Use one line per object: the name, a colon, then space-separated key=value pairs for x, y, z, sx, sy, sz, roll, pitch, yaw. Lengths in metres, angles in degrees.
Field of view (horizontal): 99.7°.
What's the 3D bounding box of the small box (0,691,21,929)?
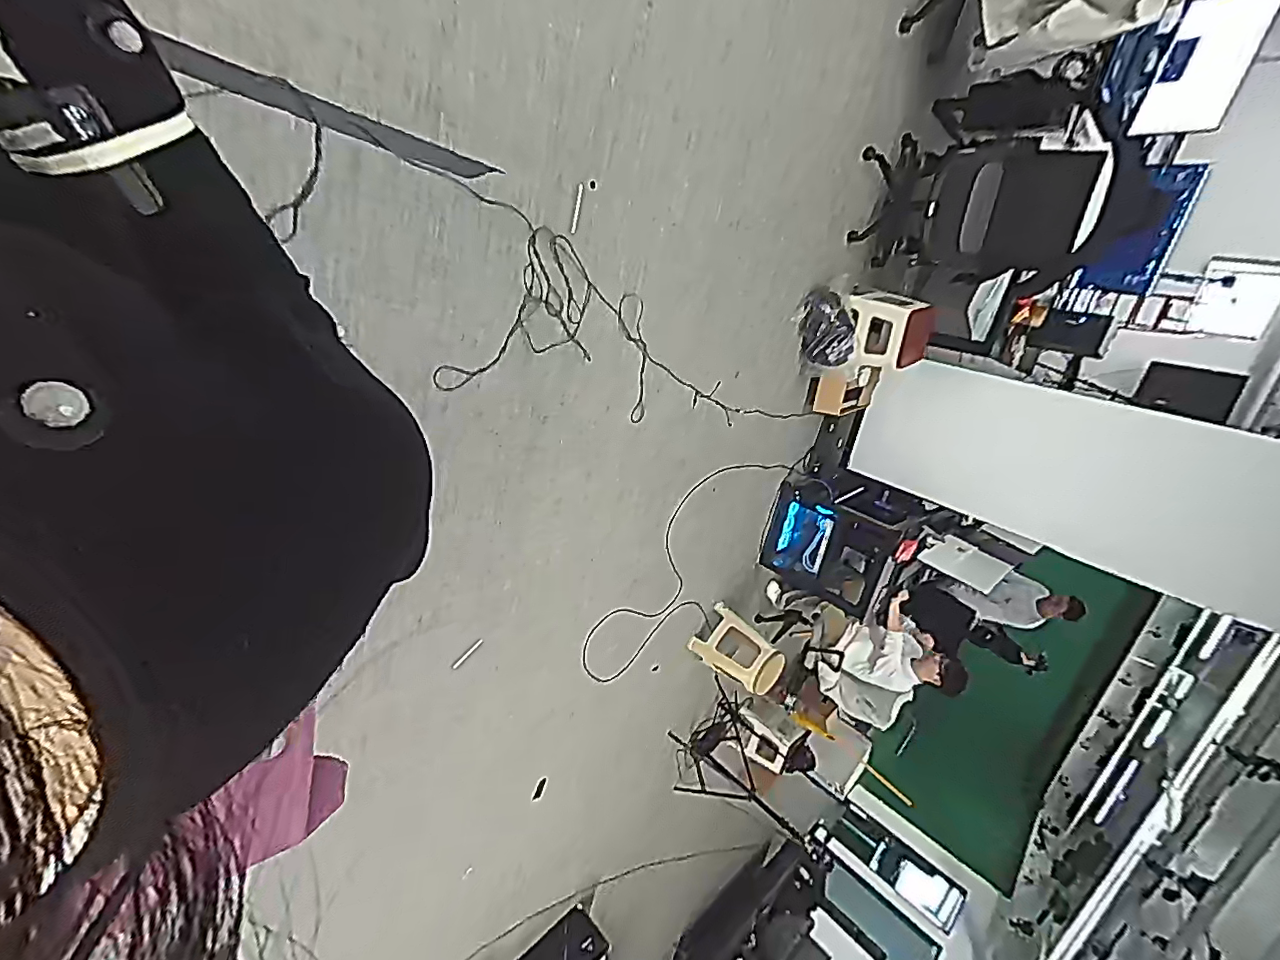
small box: x=-0.706 y=0.329 z=0.496 sx=0.179 sy=0.176 sz=0.168 roll=-2 pitch=113 yaw=-48
